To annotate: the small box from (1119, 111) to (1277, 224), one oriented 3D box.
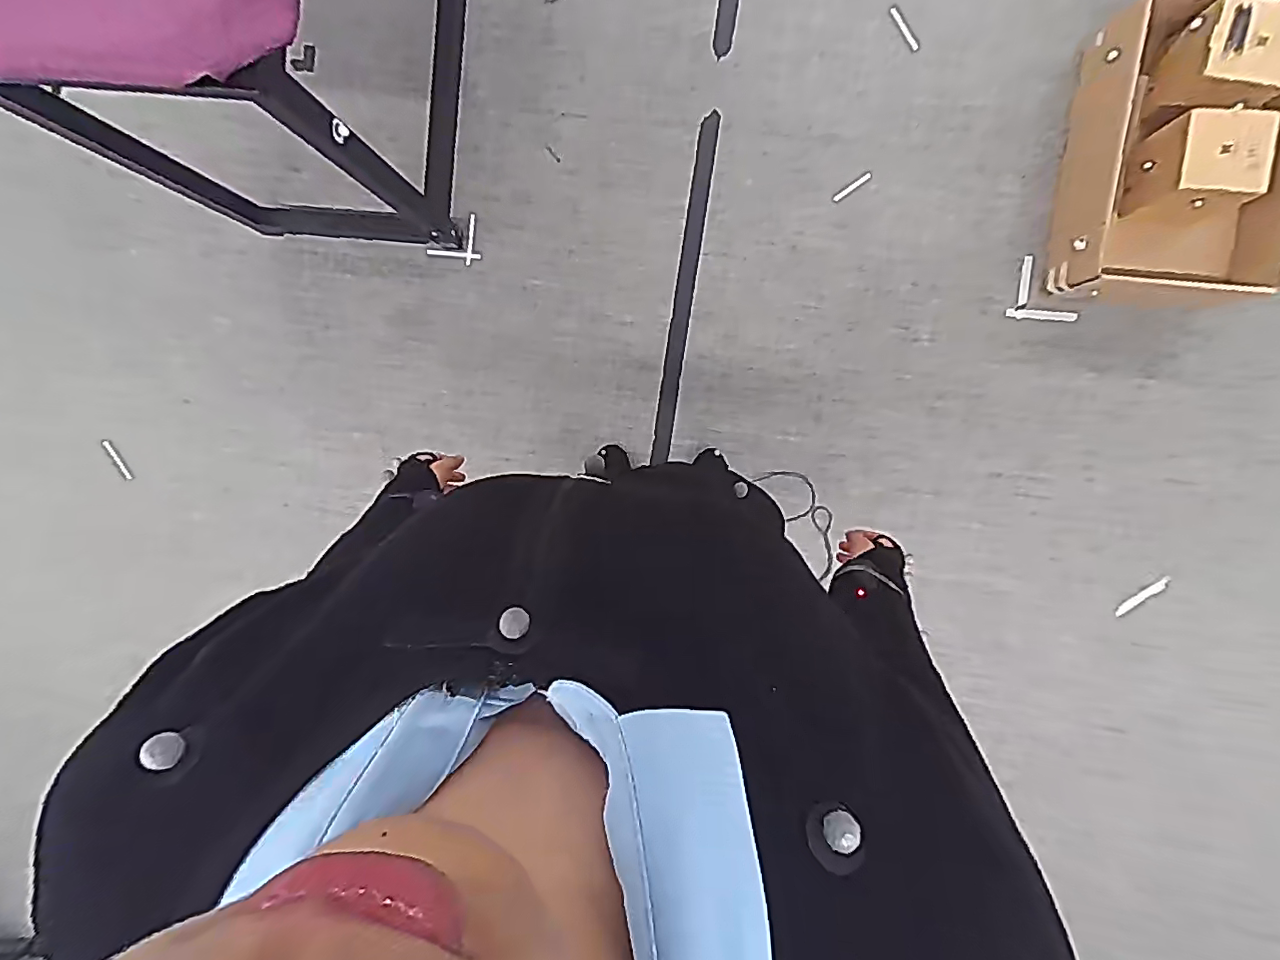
[{"bbox_3d":[1.245,-0.696,1.222,0.179,0.176,0.168,6,95,4],"label":"small box"}]
